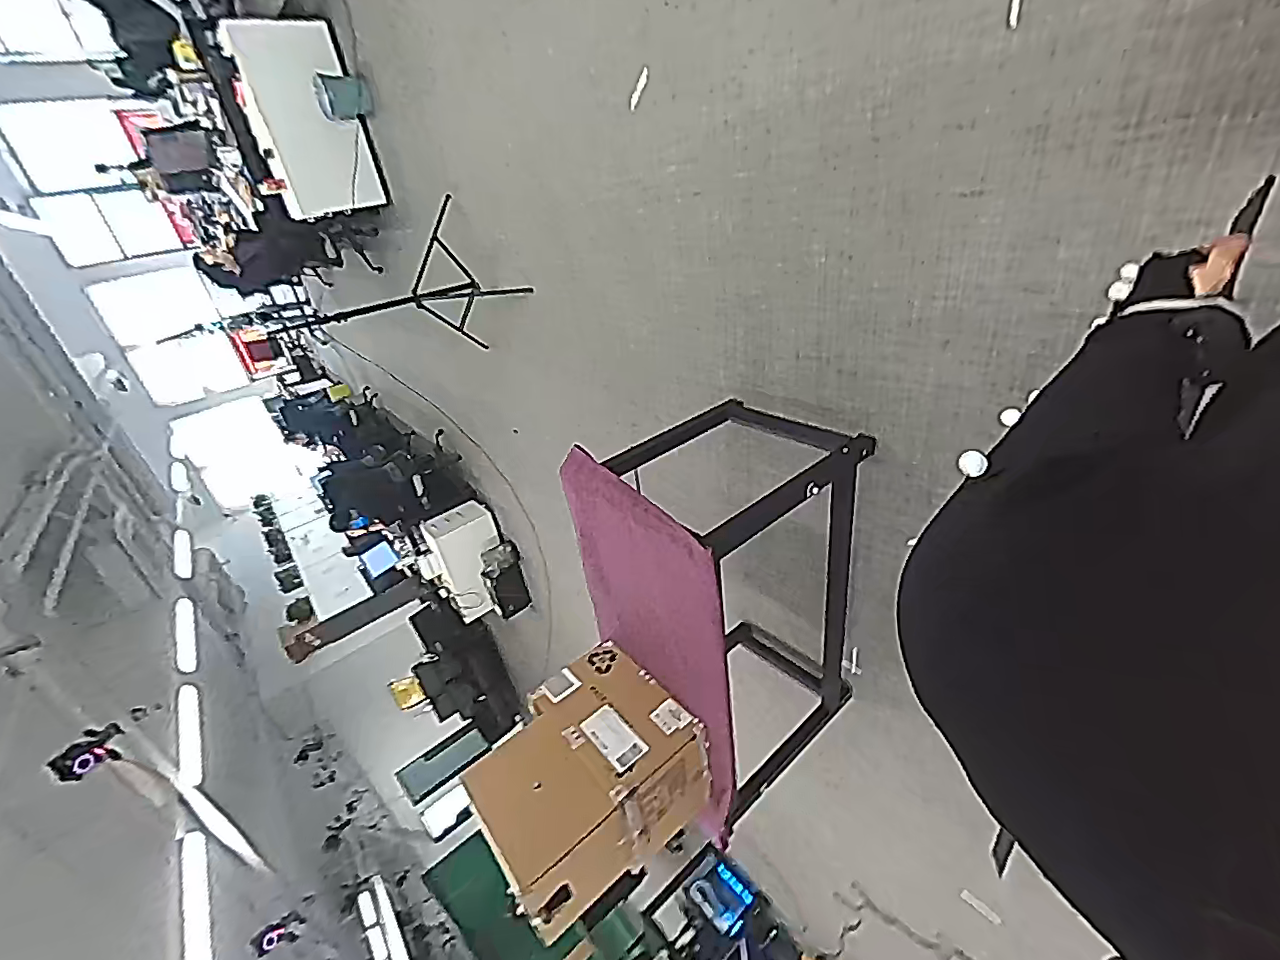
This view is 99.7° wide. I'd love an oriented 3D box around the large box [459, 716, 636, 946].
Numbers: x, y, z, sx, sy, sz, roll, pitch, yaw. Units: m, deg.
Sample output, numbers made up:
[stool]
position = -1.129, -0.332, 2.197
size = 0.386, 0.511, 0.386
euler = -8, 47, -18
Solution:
[large box]
position = -0.269, 0.990, 1.578
size = 0.408, 0.320, 0.320
euler = 26, 136, 46
